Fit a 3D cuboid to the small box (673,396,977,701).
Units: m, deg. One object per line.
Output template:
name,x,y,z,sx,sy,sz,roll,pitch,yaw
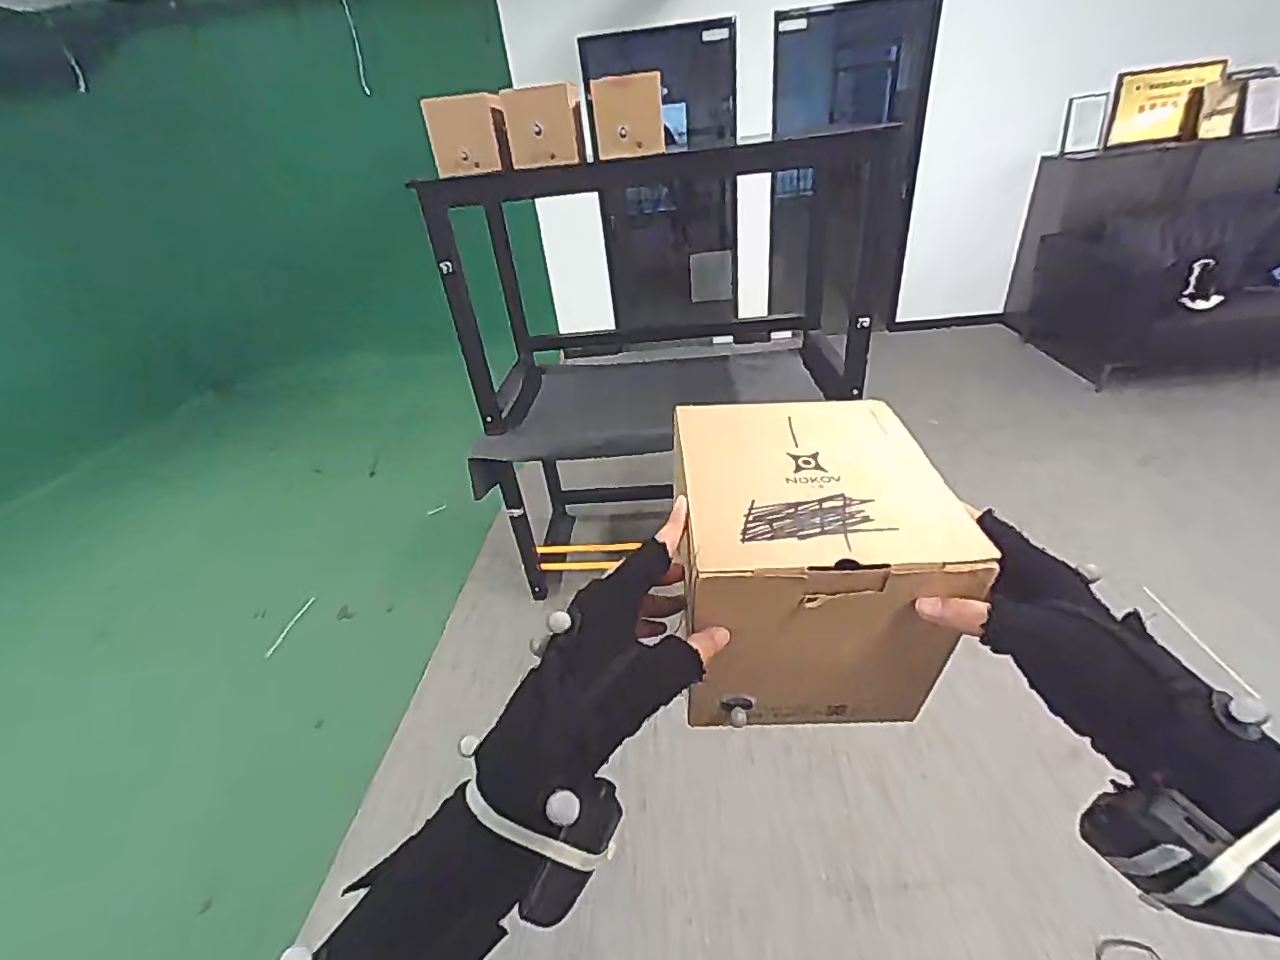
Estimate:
small box,0.112,0.053,0.417,0.168,0.176,0.179,-2,37,0
